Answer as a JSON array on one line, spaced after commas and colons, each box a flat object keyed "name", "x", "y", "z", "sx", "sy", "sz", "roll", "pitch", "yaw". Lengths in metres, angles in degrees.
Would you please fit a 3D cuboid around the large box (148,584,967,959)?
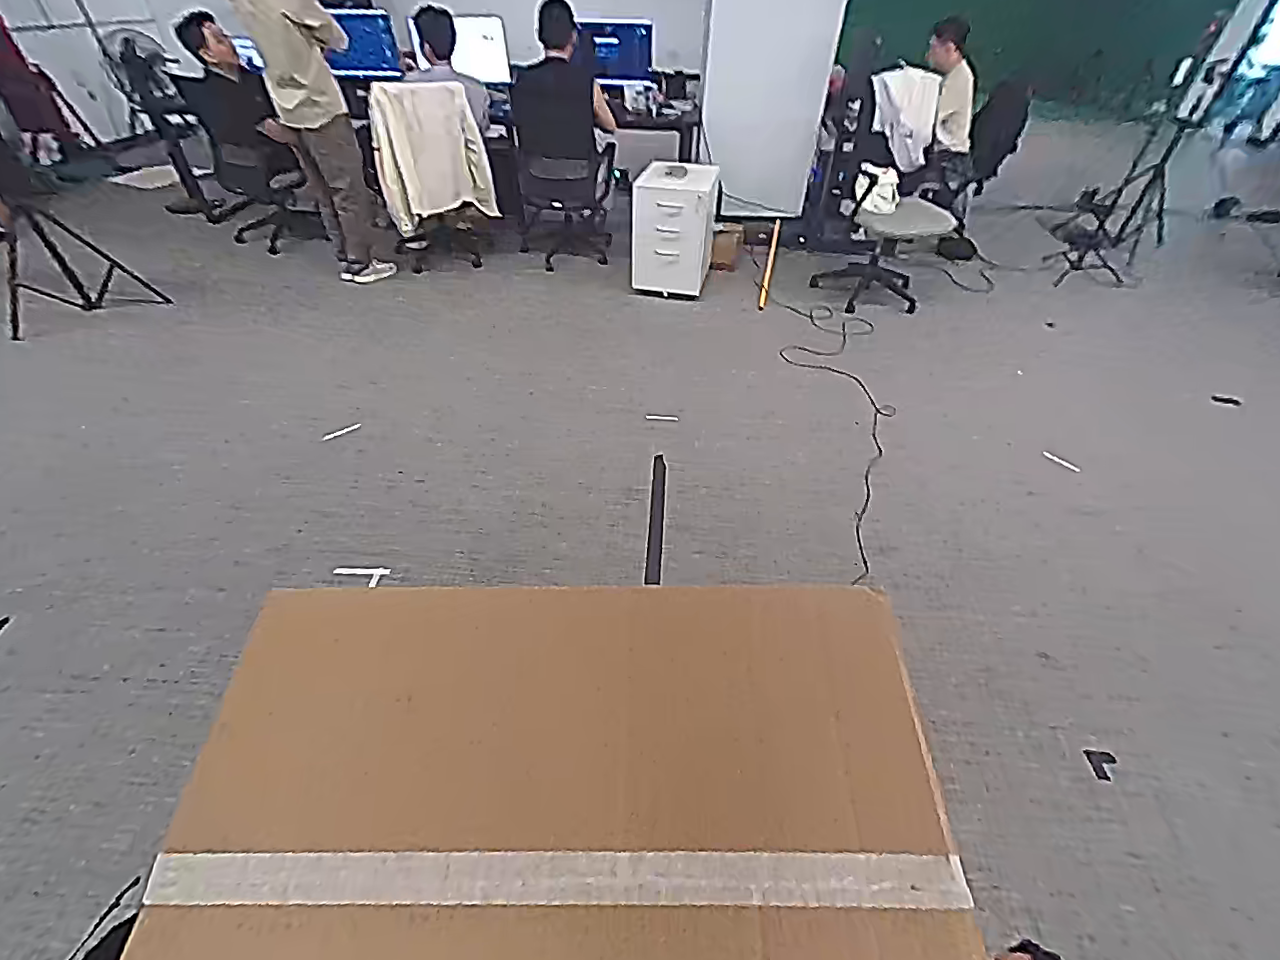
[{"name": "large box", "x": -0.039, "y": 0.285, "z": 0.406, "sx": 0.408, "sy": 0.320, "sz": 0.320, "roll": -1, "pitch": 56, "yaw": 2}]
